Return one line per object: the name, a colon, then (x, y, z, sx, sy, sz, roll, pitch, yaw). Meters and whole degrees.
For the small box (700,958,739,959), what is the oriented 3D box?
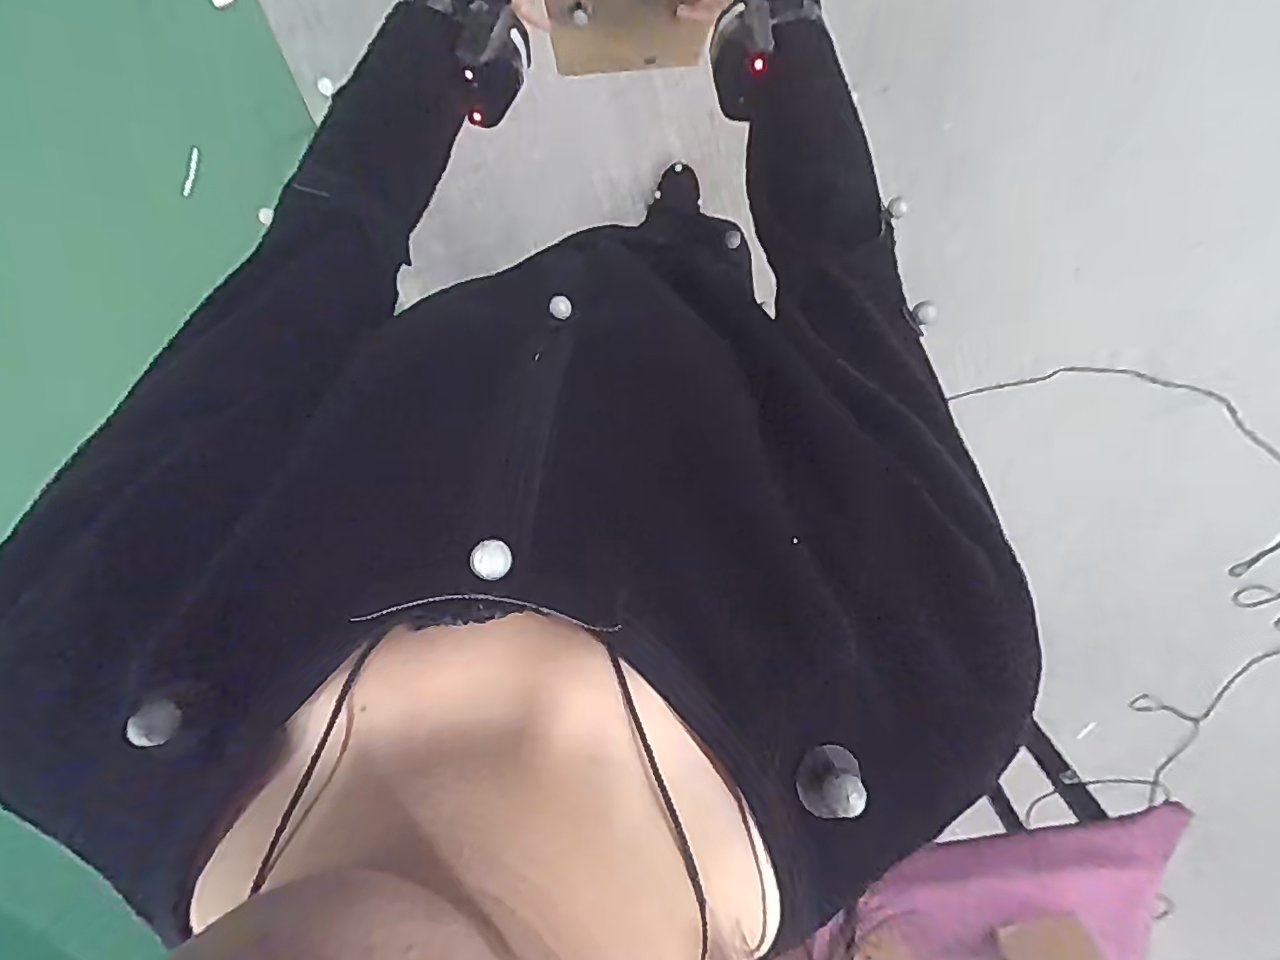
small box: (0.200, 1.229, 1.229, 0.168, 0.176, 0.179, -11, 113, 7)

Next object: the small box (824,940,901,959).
small box: (0.515, 1.156, 1.184, 0.168, 0.176, 0.179, -13, 112, 7)

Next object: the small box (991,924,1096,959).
small box: (0.881, 1.076, 1.135, 0.179, 0.176, 0.168, -18, 111, 11)
